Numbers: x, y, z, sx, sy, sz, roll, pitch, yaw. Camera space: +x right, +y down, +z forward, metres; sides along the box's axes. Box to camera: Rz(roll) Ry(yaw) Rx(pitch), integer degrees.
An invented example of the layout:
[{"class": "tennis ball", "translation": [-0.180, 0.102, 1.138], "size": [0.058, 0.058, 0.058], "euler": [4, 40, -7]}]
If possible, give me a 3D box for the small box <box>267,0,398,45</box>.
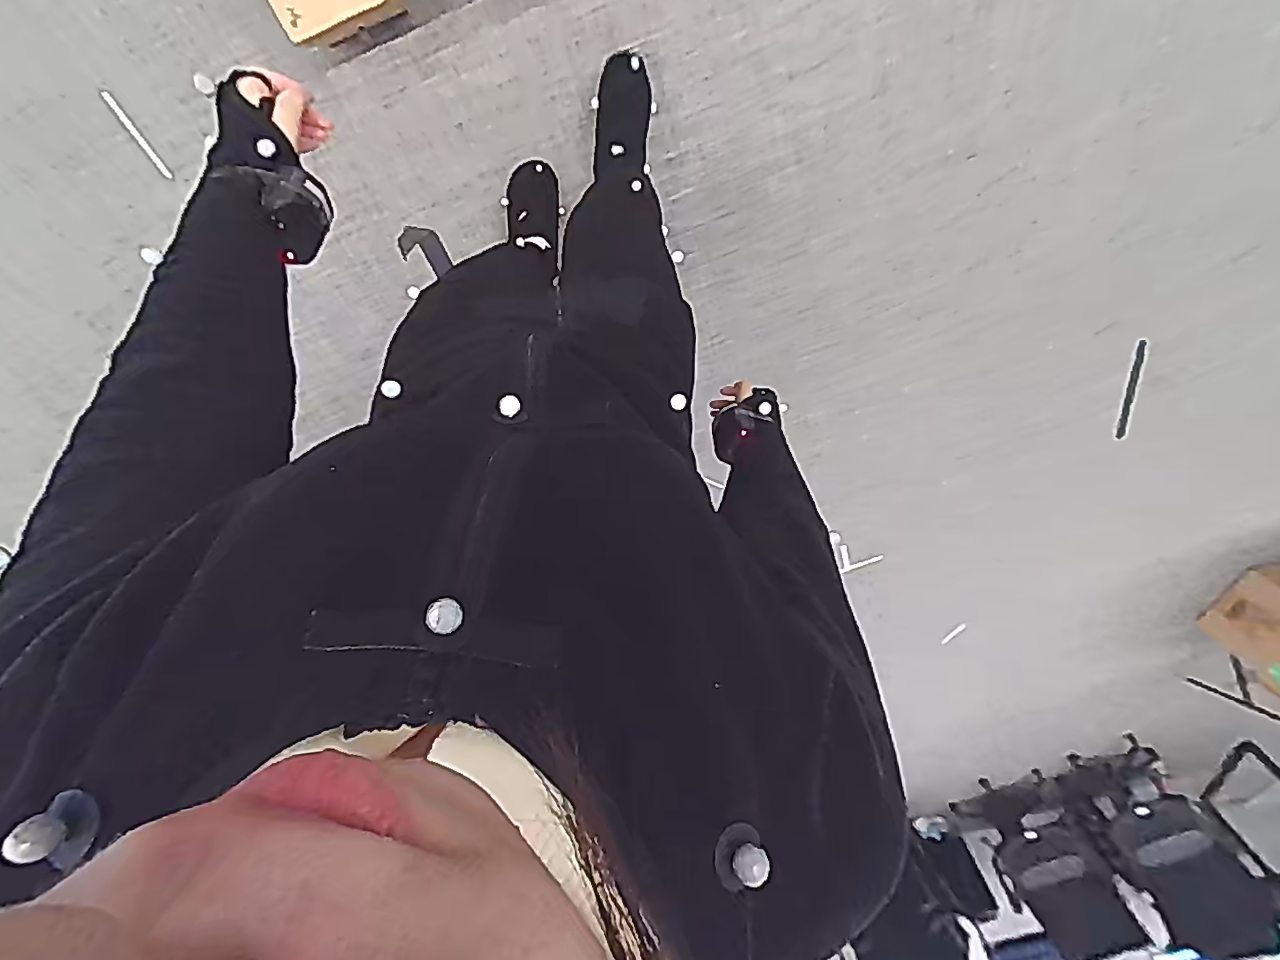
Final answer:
[{"class": "small box", "translation": [-0.521, -0.842, 0.881], "size": [0.179, 0.176, 0.168], "euler": [-20, 128, 5]}]
